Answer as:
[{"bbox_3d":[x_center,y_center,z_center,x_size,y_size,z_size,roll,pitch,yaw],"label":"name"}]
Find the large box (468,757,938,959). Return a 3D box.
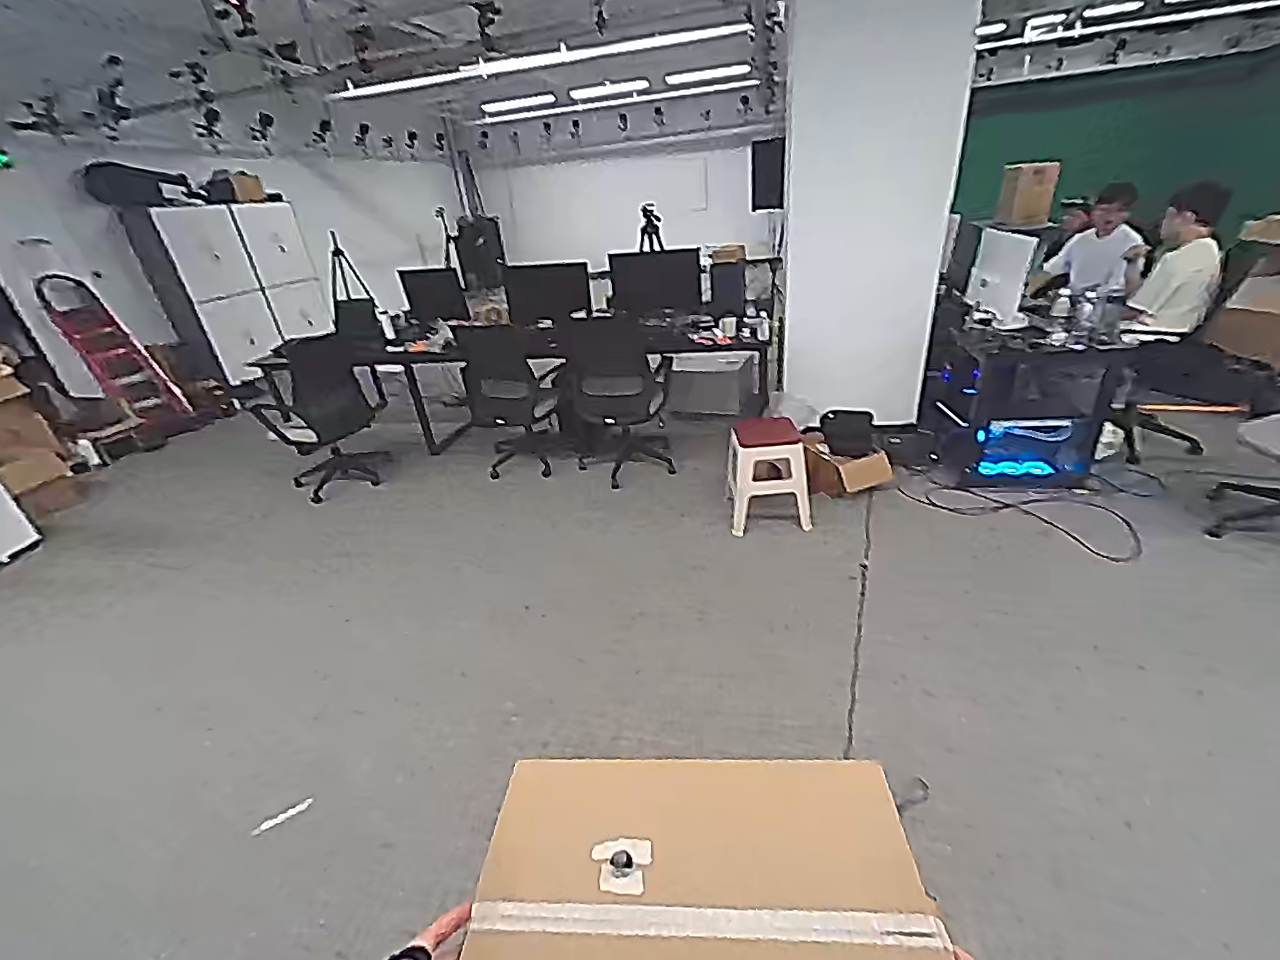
[{"bbox_3d":[0.066,0.523,0.546,0.408,0.320,0.320,-5,27,6],"label":"large box"}]
